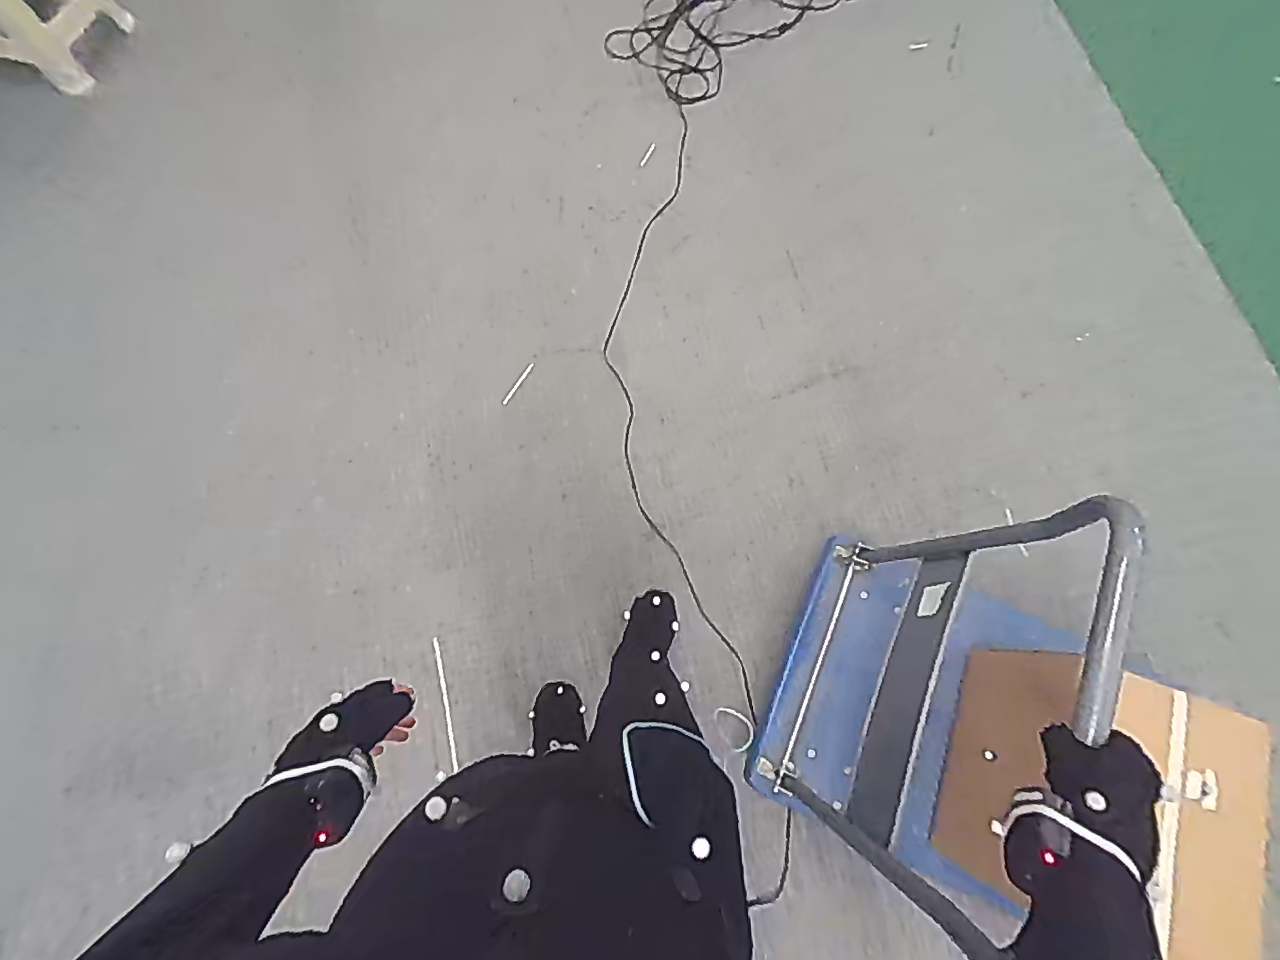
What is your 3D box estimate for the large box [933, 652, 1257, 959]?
[{"bbox_3d":[0.787,0.560,0.973,0.320,0.320,0.408,21,74,3],"label":"large box"}]
